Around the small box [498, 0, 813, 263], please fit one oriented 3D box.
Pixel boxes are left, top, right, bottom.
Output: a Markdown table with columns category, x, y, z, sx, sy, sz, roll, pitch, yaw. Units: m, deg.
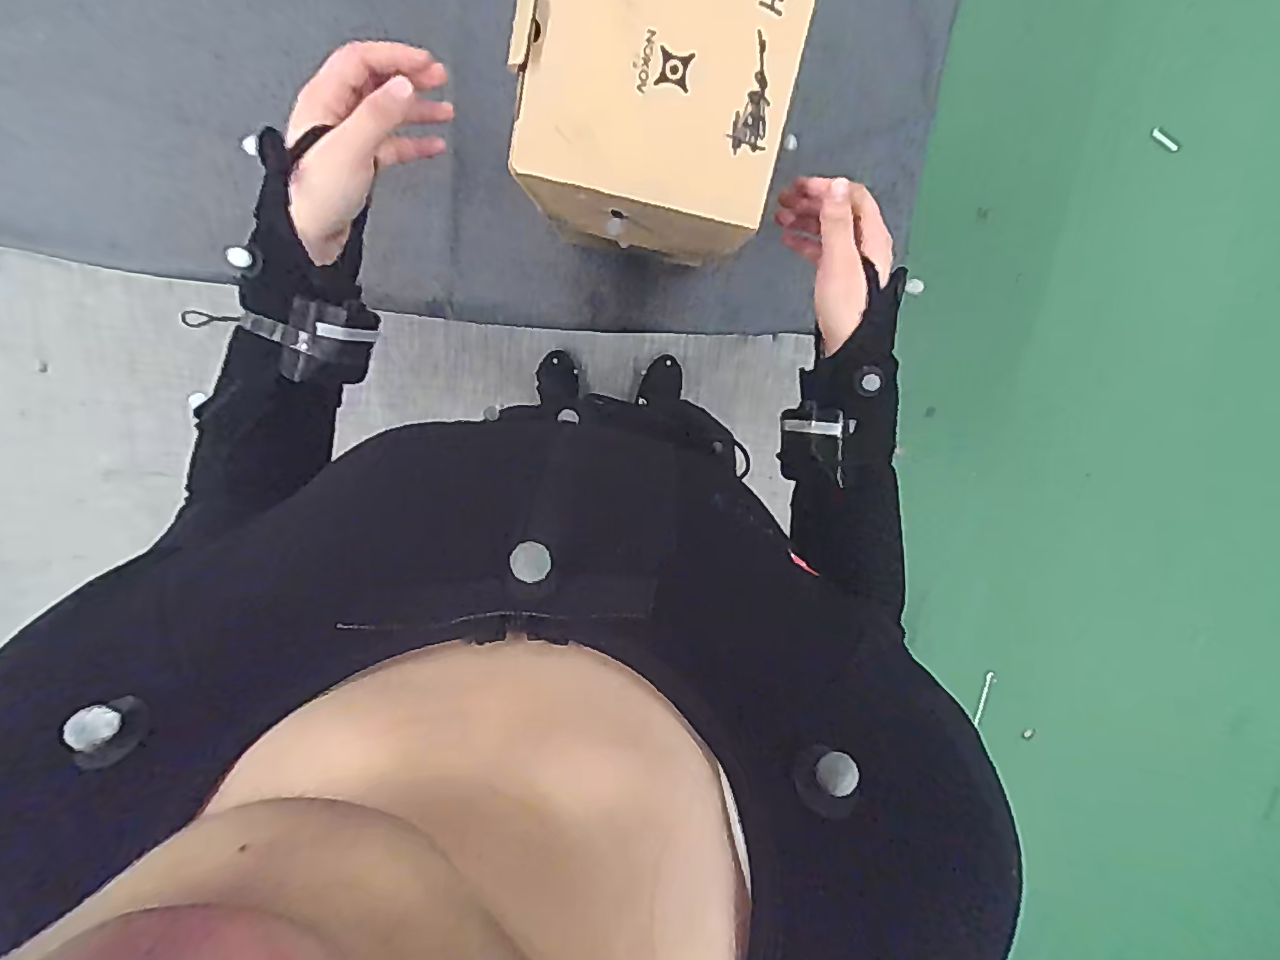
| category | x | y | z | sx | sy | sz | roll | pitch | yaw |
| --- | --- | --- | --- | --- | --- | --- | --- | --- | --- |
| small box | 0.011 | -0.279 | 0.415 | 0.179 | 0.176 | 0.168 | 13 | 103 | -2 |
